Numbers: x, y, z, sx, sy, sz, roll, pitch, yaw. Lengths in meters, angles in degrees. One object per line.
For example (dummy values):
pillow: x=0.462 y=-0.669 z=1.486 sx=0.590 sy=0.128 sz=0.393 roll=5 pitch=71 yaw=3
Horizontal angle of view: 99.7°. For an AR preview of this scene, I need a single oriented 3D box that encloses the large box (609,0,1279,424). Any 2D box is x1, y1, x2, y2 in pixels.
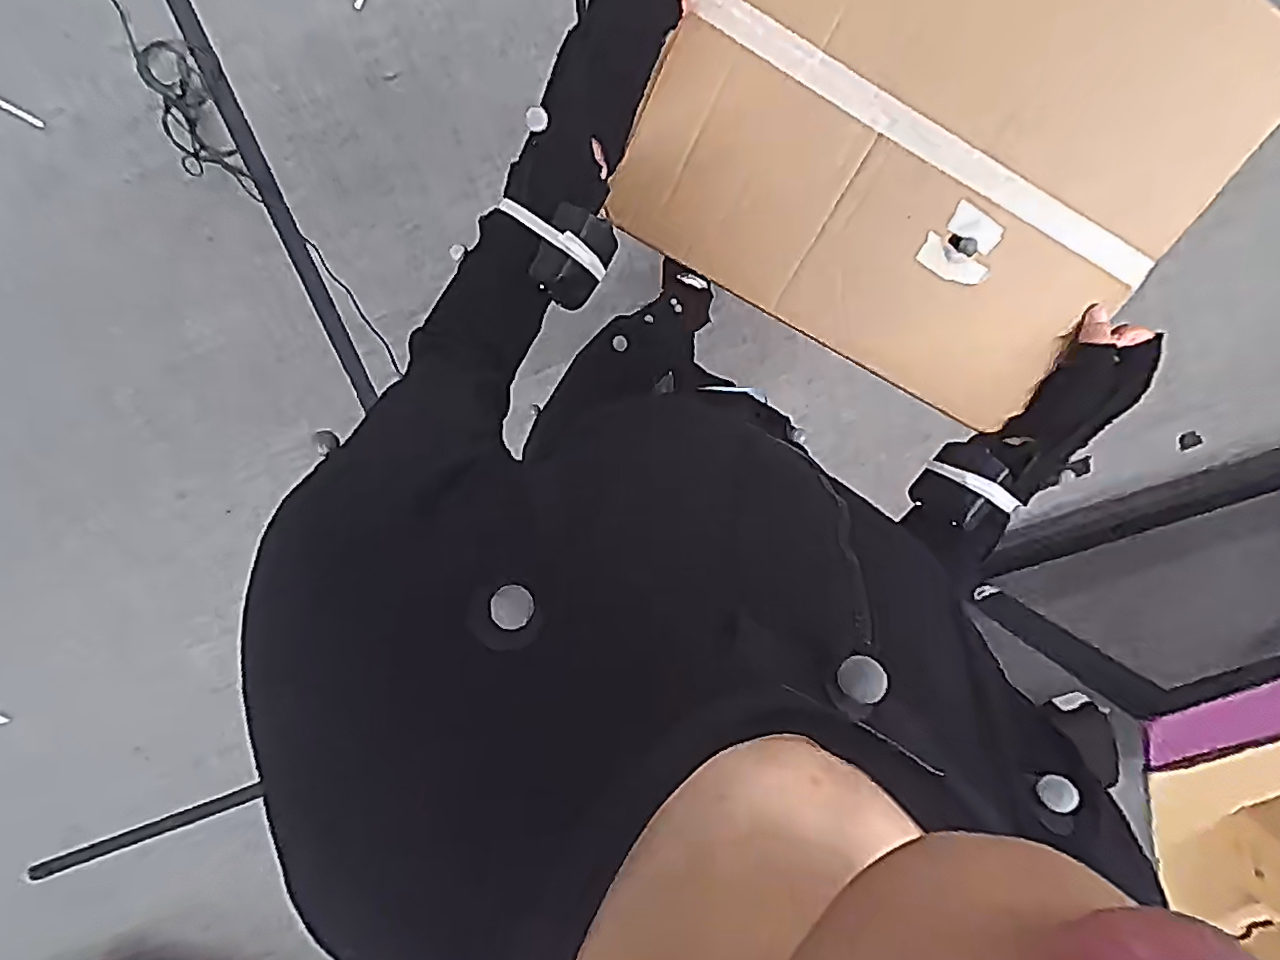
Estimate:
large box: x=0.224 y=-0.318 z=0.547 sx=0.408 sy=0.320 sz=0.320 roll=27 pitch=115 yaw=-8
